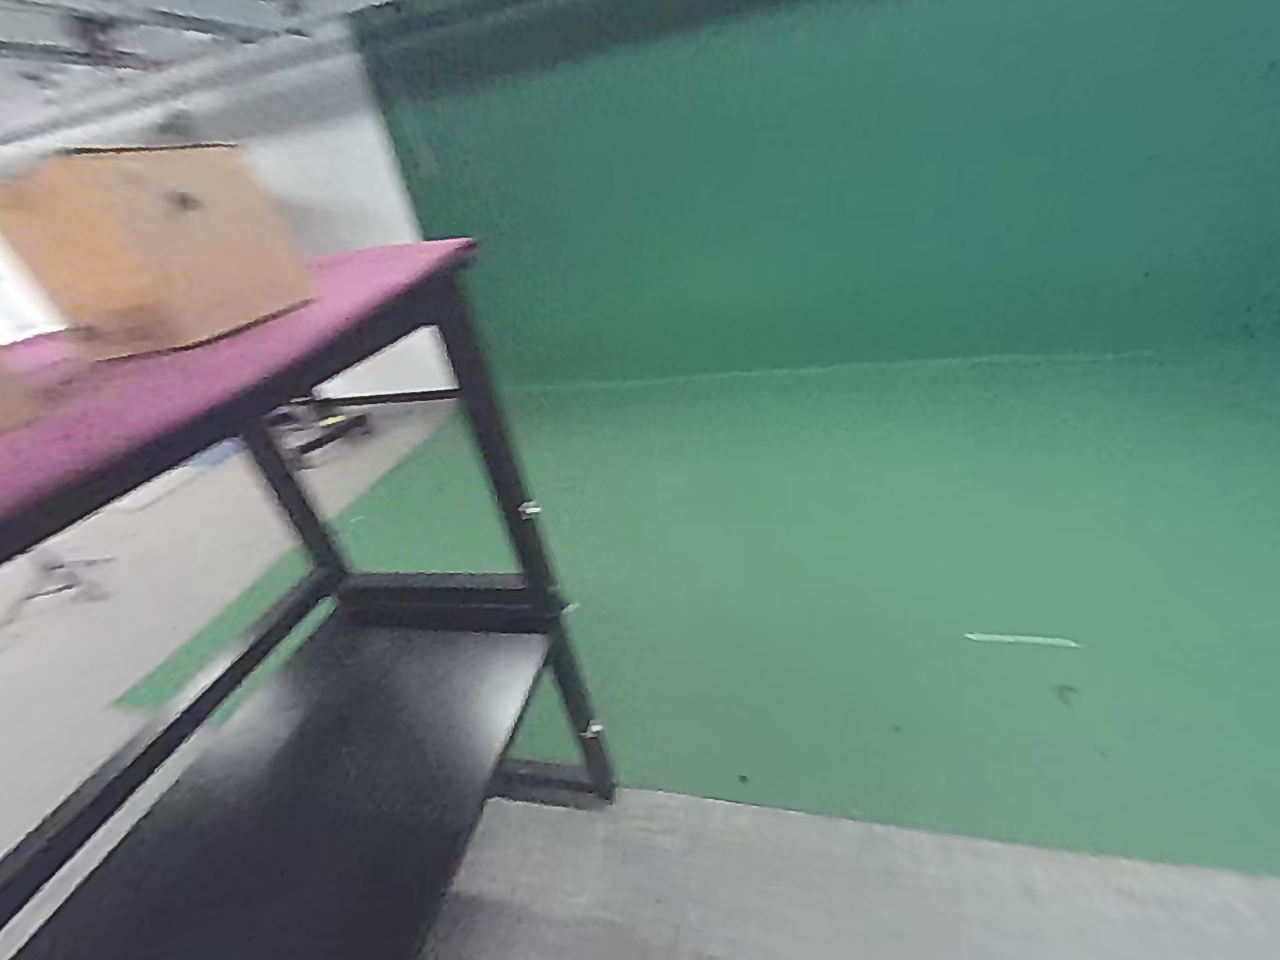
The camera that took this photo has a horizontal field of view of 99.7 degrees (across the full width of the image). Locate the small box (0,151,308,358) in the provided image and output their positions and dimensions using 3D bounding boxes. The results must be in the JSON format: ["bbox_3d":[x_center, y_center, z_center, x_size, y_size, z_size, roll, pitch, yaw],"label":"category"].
[{"bbox_3d":[-0.512,-0.236,0.583,0.168,0.176,0.179,-3,31,17],"label":"small box"}]
